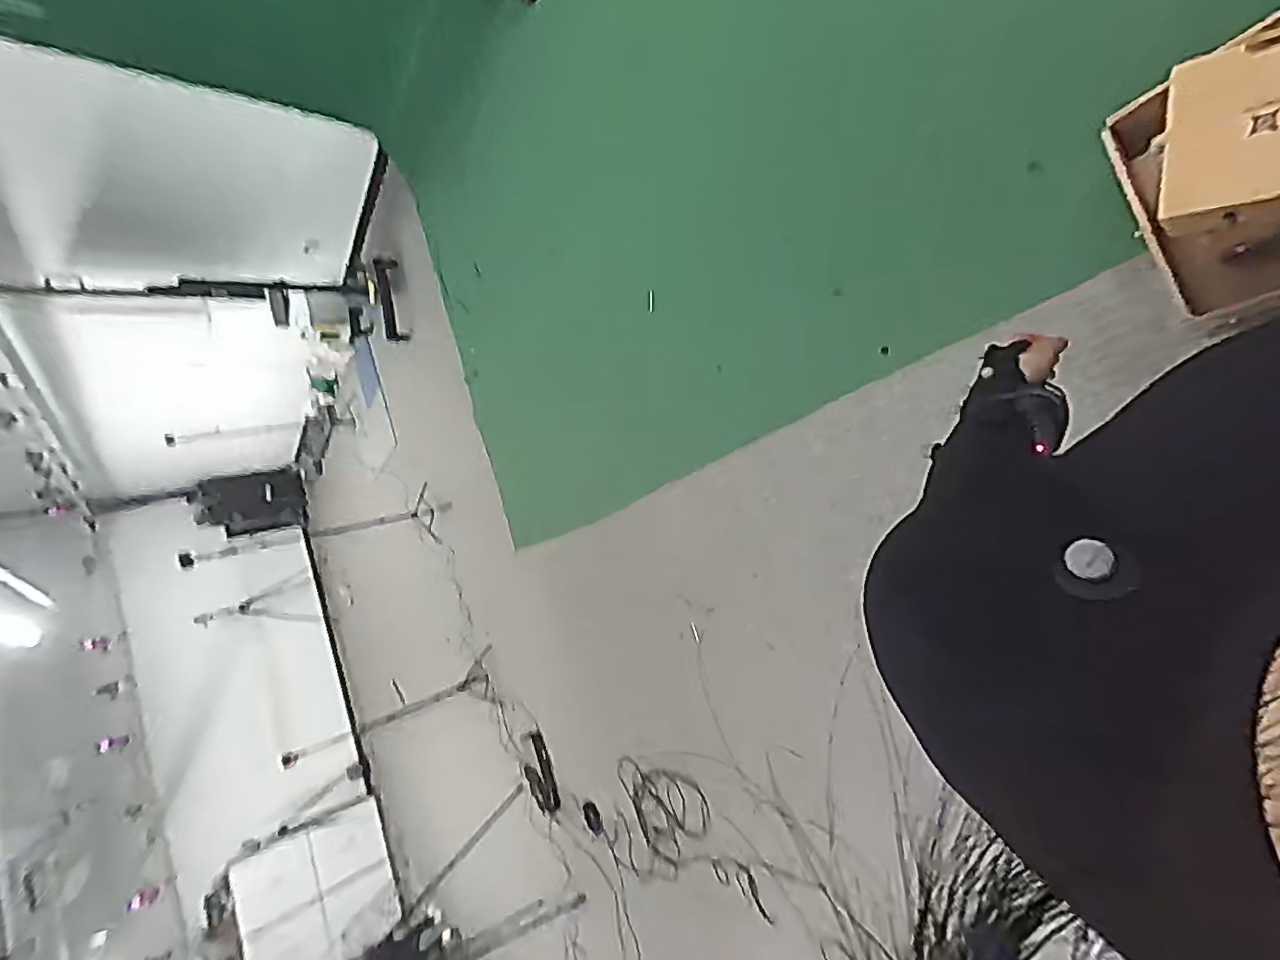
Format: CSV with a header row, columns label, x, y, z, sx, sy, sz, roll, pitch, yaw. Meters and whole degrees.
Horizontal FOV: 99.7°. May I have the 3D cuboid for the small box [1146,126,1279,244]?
label,x,y,z,sx,sy,sz,roll,pitch,yaw
small box,0.866,-0.457,0.764,0.168,0.176,0.179,-26,79,48

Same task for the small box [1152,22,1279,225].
label,x,y,z,sx,sy,sz,roll,pitch,yaw
small box,0.751,-0.423,0.655,0.168,0.176,0.179,6,104,47
